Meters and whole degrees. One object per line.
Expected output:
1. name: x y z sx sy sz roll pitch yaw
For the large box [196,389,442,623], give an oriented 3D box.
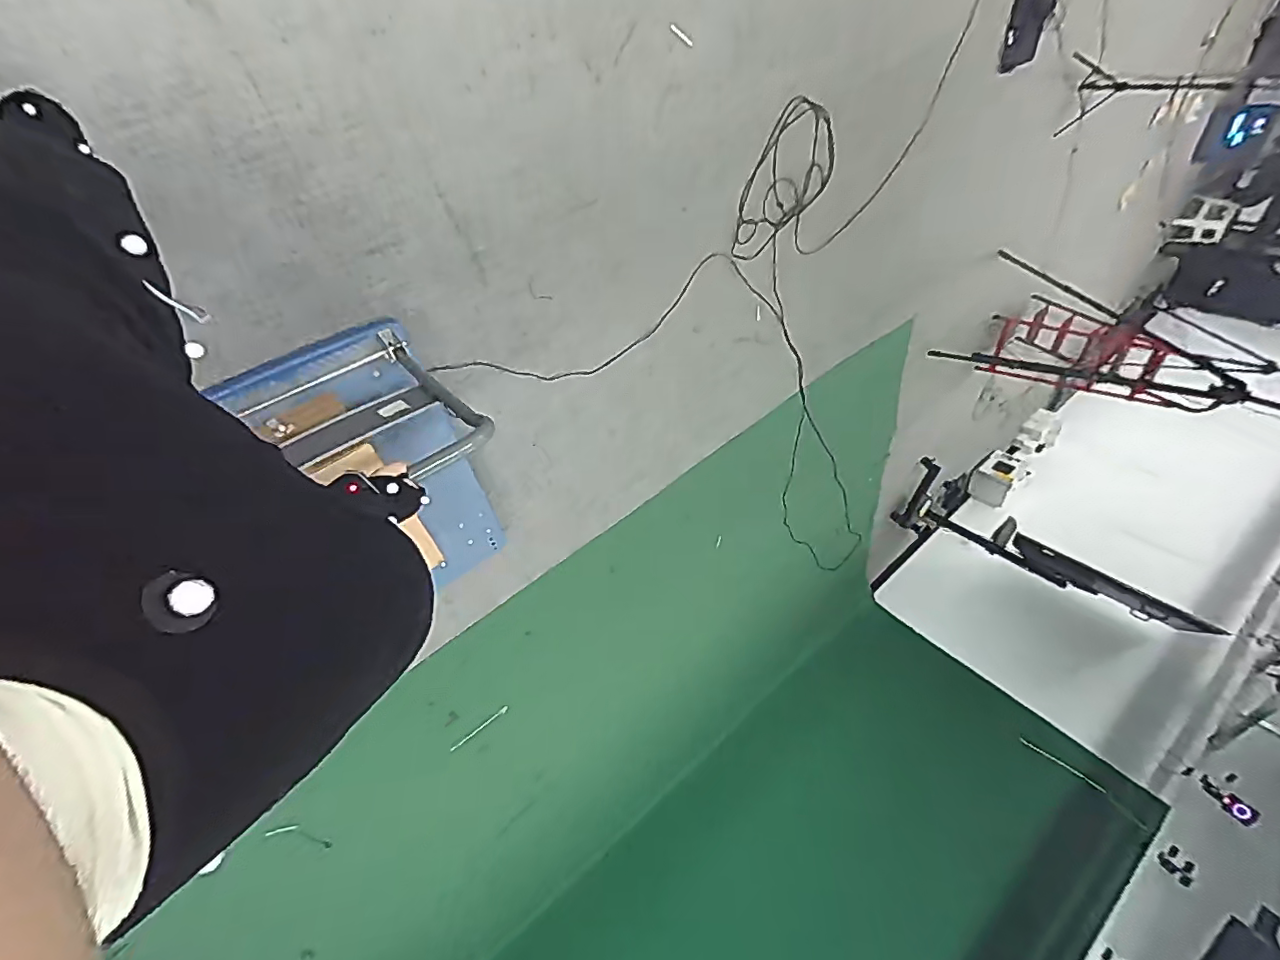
1. large box: -0.758 0.058 1.308 0.320 0.320 0.408 -34 138 -22
